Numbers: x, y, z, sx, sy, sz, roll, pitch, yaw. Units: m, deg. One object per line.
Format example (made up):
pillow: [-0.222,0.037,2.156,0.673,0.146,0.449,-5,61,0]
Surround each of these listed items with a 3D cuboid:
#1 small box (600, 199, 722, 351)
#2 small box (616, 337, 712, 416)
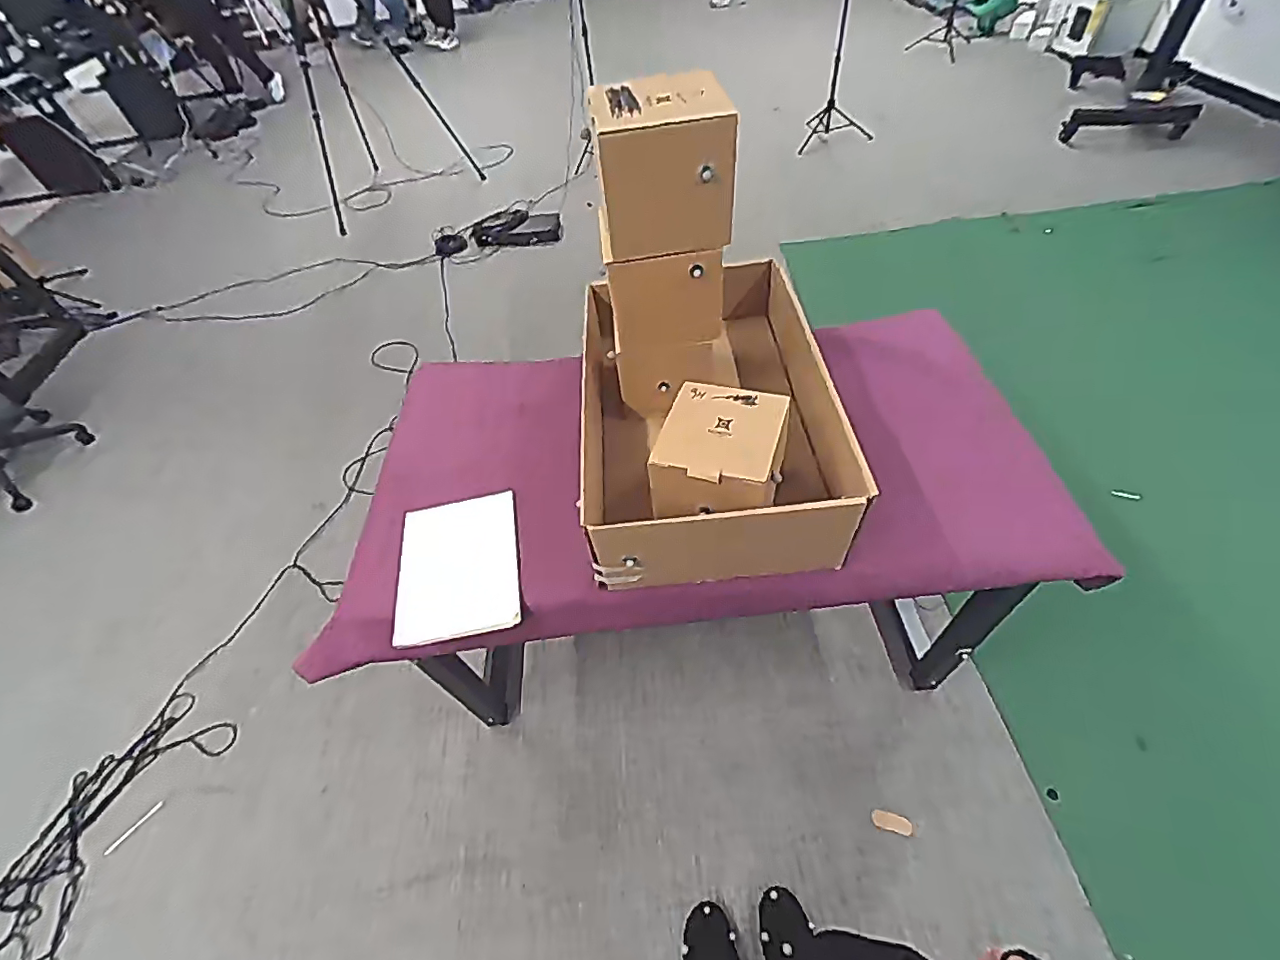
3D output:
small box: [0.035,-0.331,0.889,0.179,0.176,0.168,-8,52,1]
small box: [0.046,-0.234,1.018,0.168,0.176,0.179,-6,53,3]
